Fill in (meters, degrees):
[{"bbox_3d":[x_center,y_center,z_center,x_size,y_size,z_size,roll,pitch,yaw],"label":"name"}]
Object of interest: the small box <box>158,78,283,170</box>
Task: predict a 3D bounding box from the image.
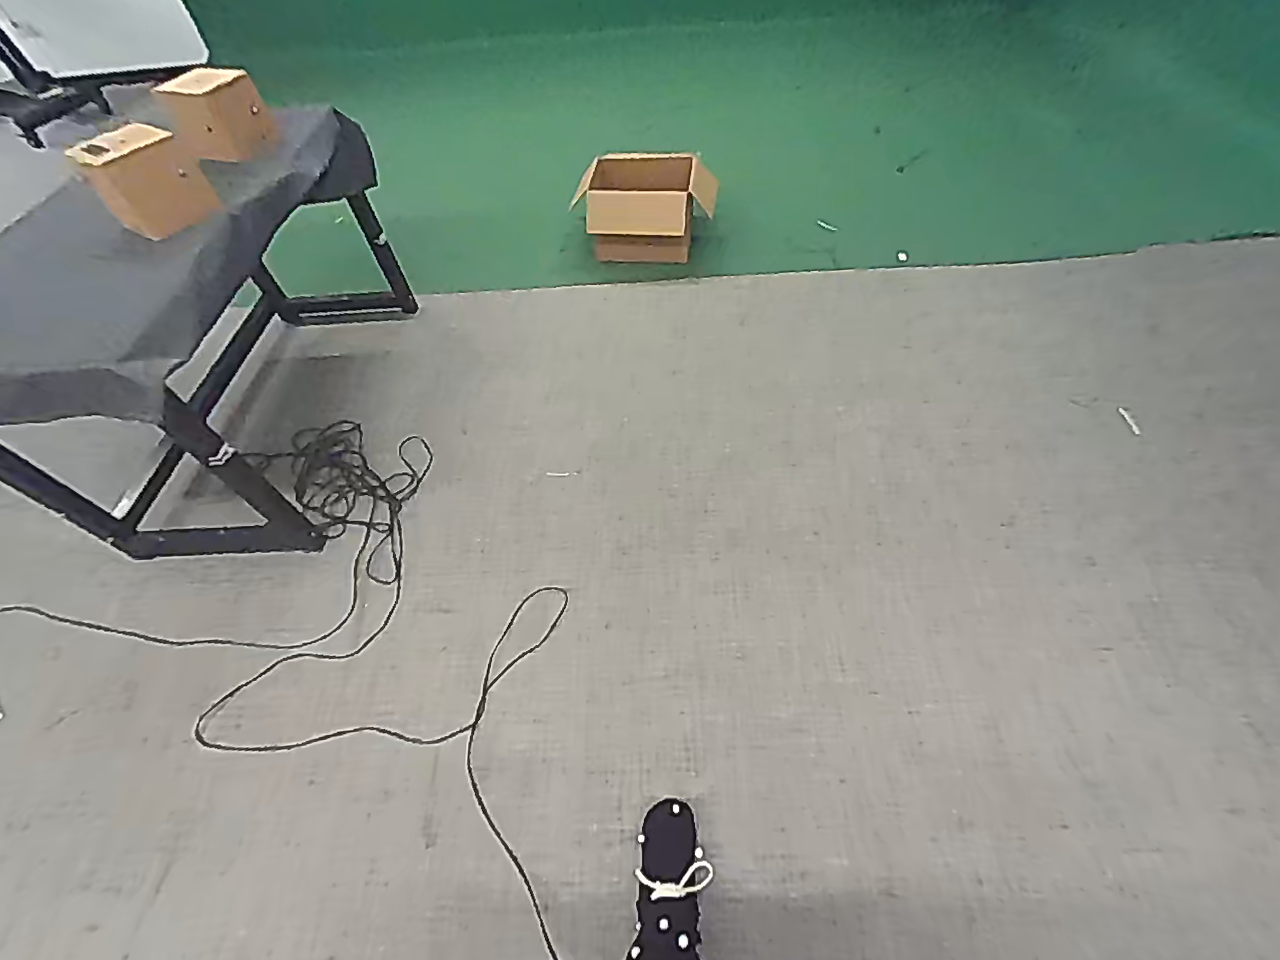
[{"bbox_3d":[-1.142,-0.978,1.491,0.179,0.176,0.168,12,54,15],"label":"small box"}]
